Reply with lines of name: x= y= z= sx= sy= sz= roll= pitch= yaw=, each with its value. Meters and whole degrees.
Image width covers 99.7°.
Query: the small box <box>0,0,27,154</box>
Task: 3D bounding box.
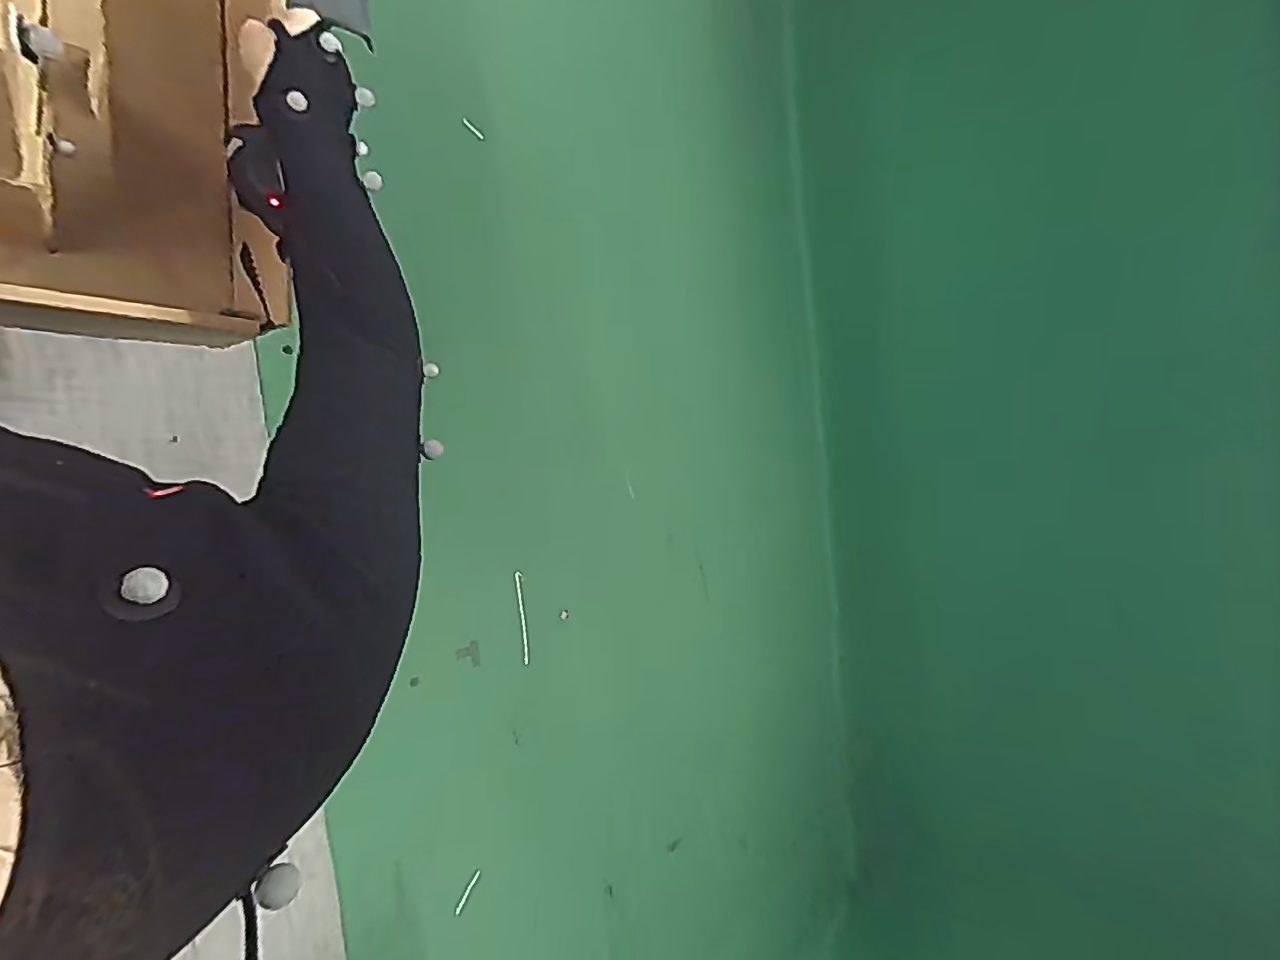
small box: x=-0.381 y=-0.261 z=0.212 sx=0.179 sy=0.176 sz=0.168 roll=-5 pitch=98 yaw=-47
